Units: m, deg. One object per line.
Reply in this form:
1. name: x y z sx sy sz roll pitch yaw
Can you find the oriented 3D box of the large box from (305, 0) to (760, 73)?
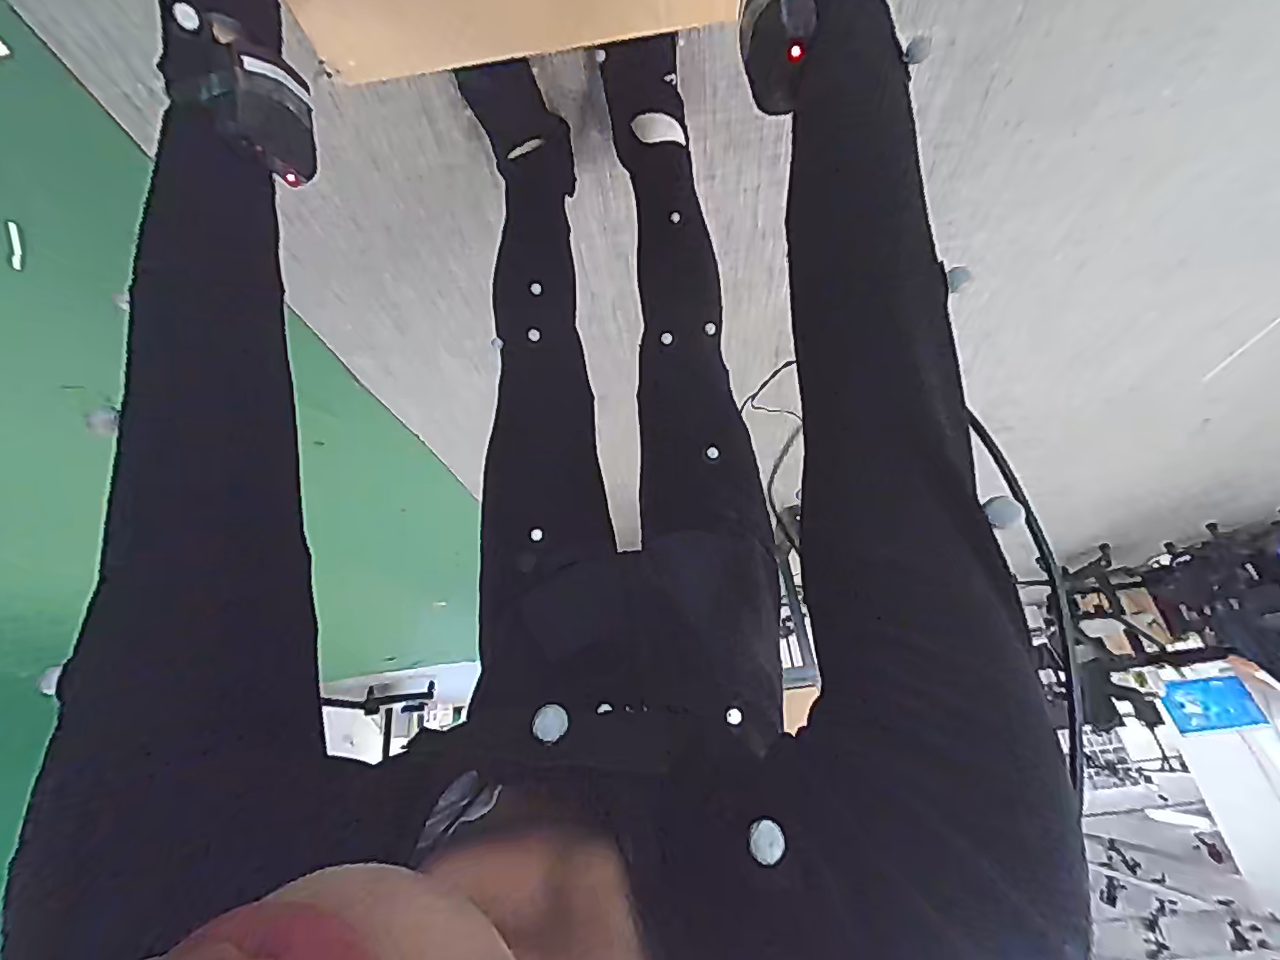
1. large box: -0.101 -0.593 0.405 0.408 0.320 0.320 -6 155 3
